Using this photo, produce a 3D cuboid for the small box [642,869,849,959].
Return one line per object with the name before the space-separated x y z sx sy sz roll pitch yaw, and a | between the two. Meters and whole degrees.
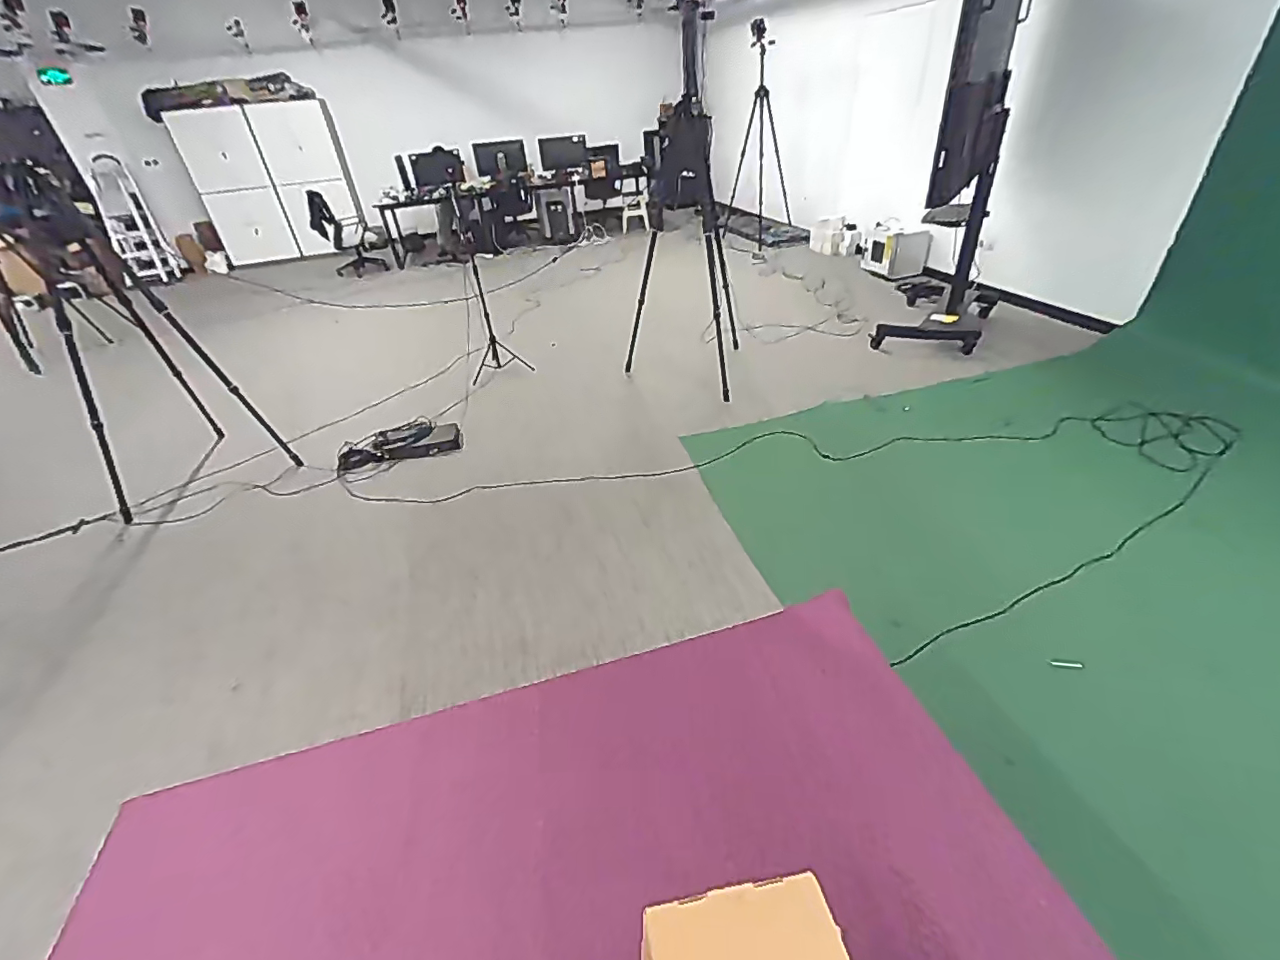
small box | 0.099 0.486 0.464 0.168 0.176 0.179 -6 30 -10
